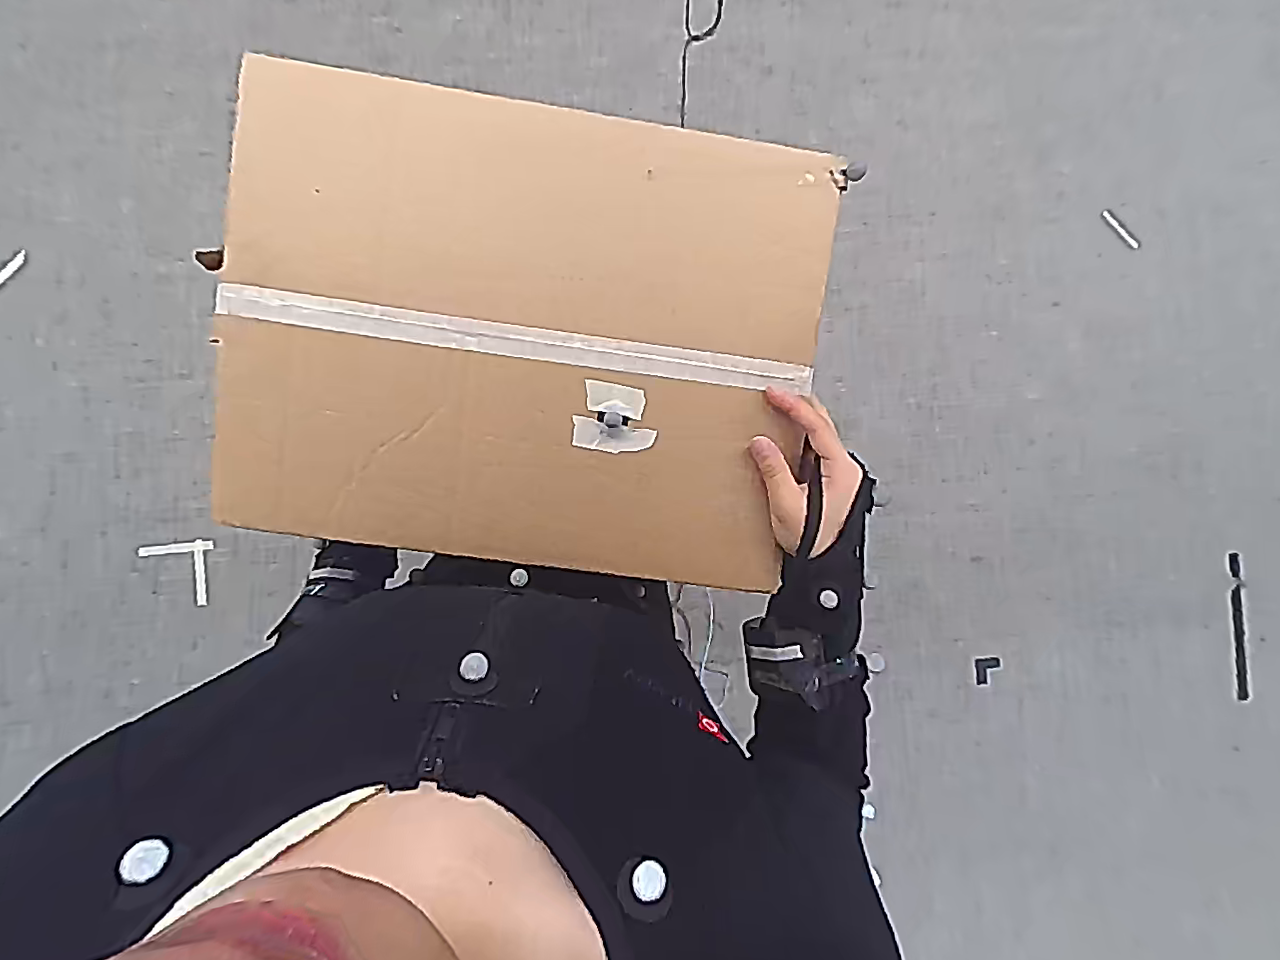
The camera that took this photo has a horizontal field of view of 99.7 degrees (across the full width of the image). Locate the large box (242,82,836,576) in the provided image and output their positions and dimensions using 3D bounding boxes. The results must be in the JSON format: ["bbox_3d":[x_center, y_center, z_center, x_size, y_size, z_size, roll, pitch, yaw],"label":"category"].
[{"bbox_3d":[-0.082,-0.109,0.535,0.408,0.320,0.320,7,95,-4],"label":"large box"}]
